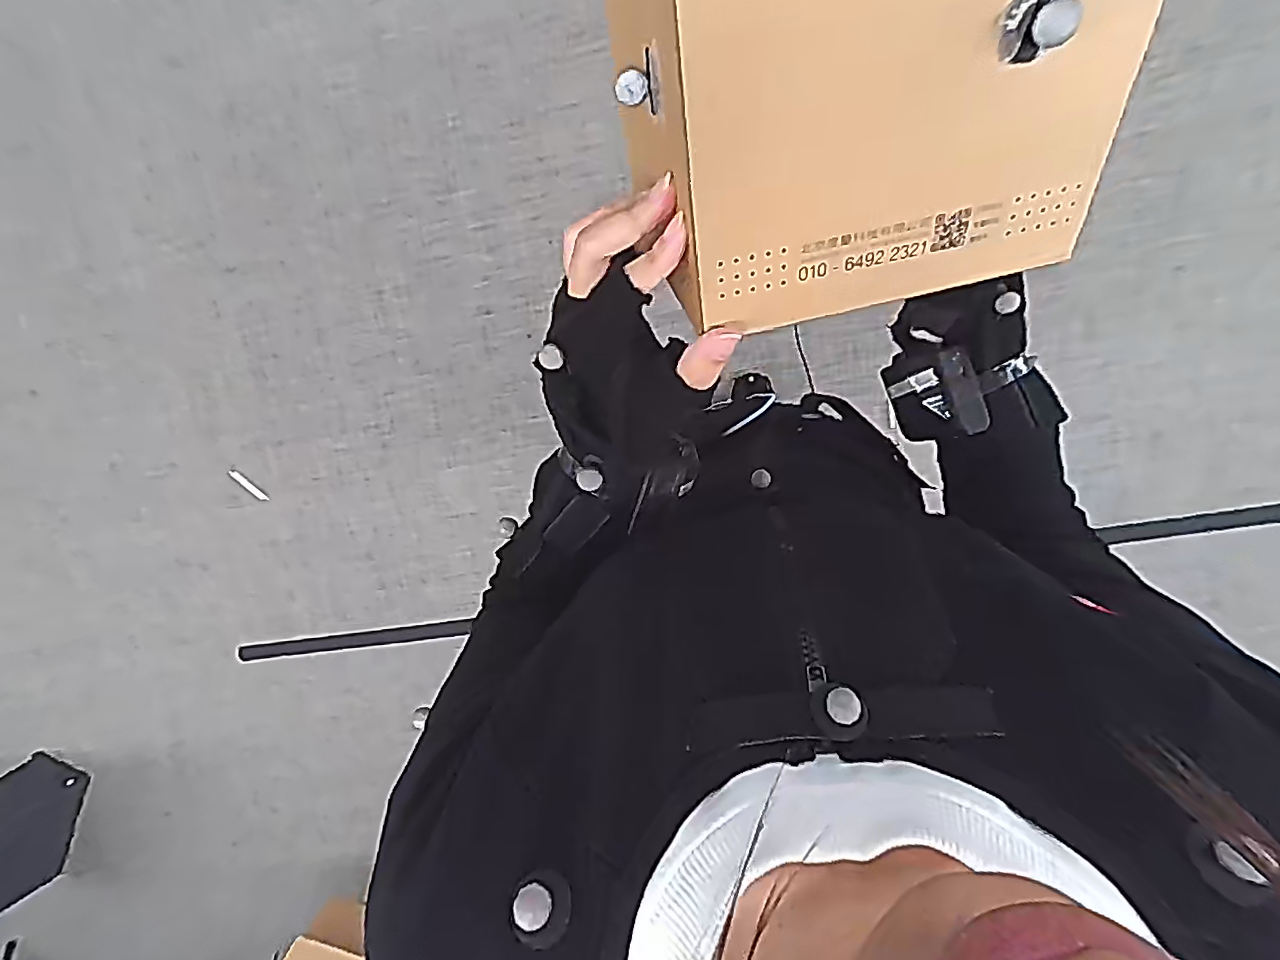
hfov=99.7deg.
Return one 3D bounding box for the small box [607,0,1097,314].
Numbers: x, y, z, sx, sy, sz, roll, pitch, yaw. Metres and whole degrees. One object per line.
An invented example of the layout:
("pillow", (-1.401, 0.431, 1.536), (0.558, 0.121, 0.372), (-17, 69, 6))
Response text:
("small box", (0.081, -0.195, 0.261), (0.168, 0.179, 0.176), (-12, 131, -1))
